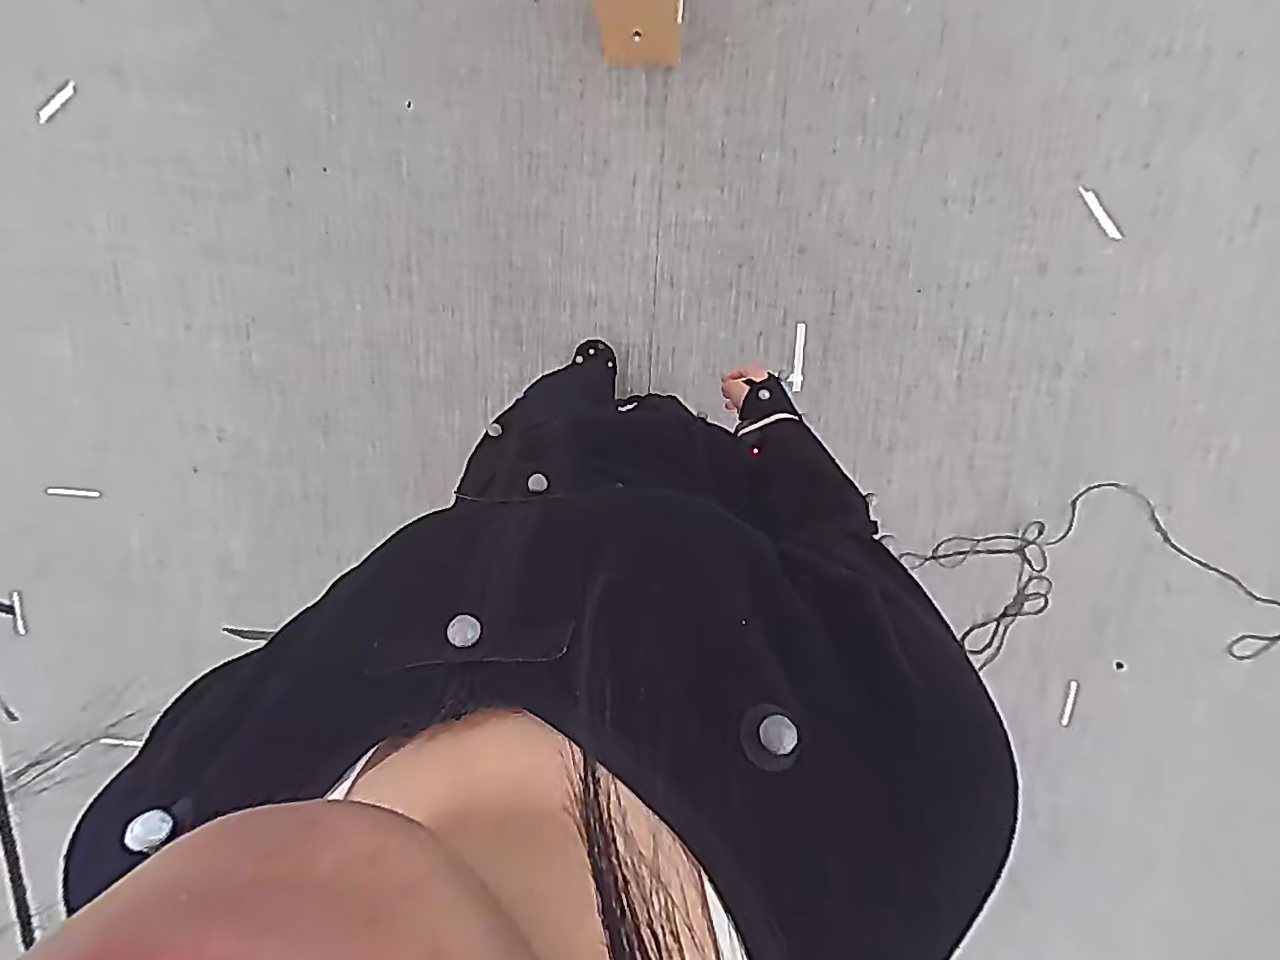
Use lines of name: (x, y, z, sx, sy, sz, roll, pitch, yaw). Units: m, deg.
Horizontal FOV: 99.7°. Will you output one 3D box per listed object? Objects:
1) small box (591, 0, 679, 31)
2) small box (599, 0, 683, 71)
small box: (-0.007, -1.014, 1.045, 0.179, 0.176, 0.168, 6, 102, 1)
small box: (0.006, -1.048, 1.206, 0.179, 0.176, 0.168, 4, 101, 1)
